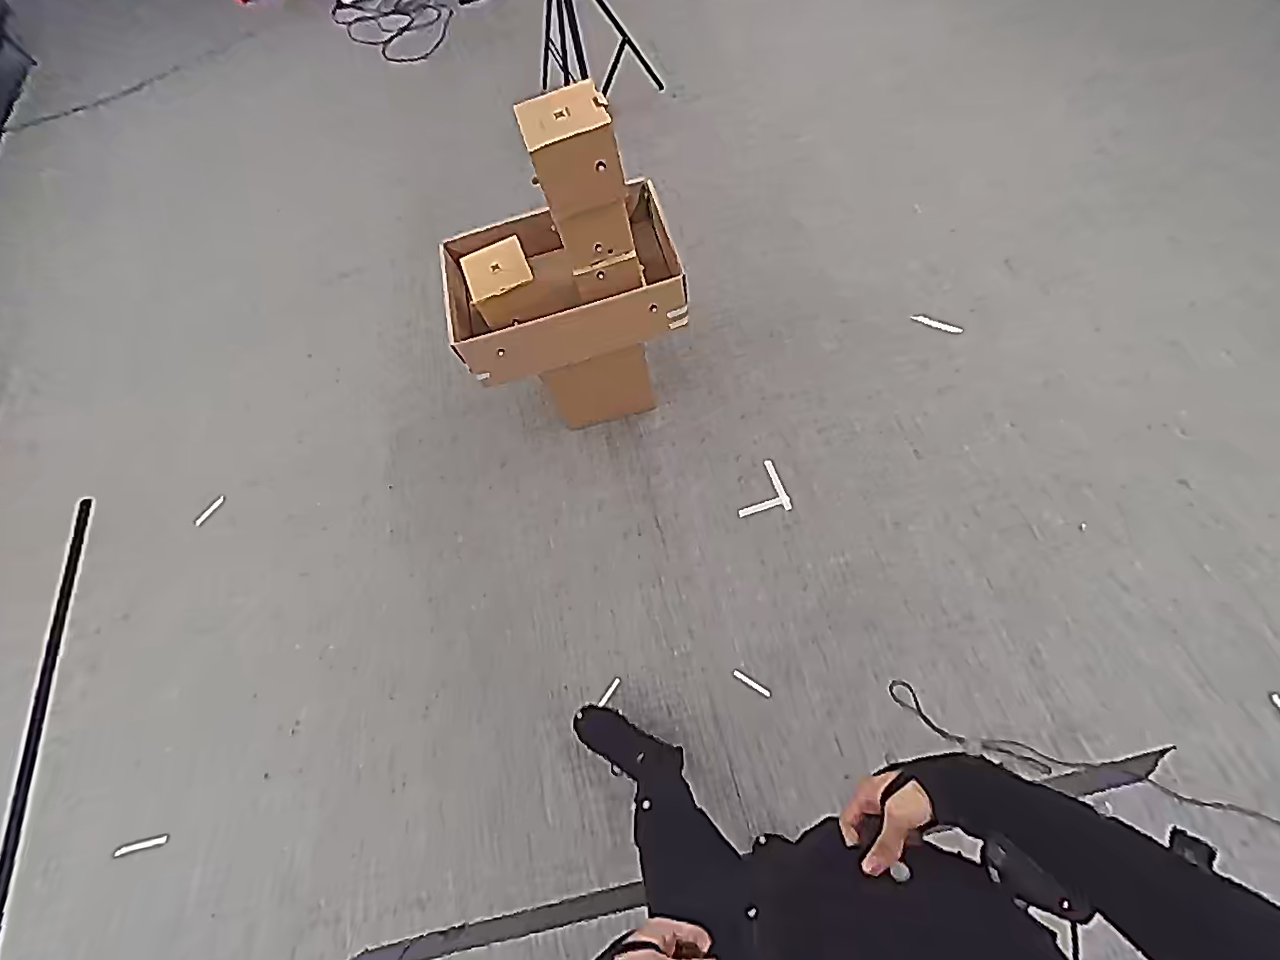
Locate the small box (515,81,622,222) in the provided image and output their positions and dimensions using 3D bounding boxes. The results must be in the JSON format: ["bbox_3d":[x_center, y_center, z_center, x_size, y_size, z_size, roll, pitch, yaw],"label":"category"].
[{"bbox_3d":[-0.144,-0.691,1.149,0.179,0.176,0.168,-19,64,1],"label":"small box"}]

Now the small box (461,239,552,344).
[{"bbox_3d":[-0.359,-0.508,1.470,0.168,0.176,0.179,-24,65,-1],"label":"small box"}]
